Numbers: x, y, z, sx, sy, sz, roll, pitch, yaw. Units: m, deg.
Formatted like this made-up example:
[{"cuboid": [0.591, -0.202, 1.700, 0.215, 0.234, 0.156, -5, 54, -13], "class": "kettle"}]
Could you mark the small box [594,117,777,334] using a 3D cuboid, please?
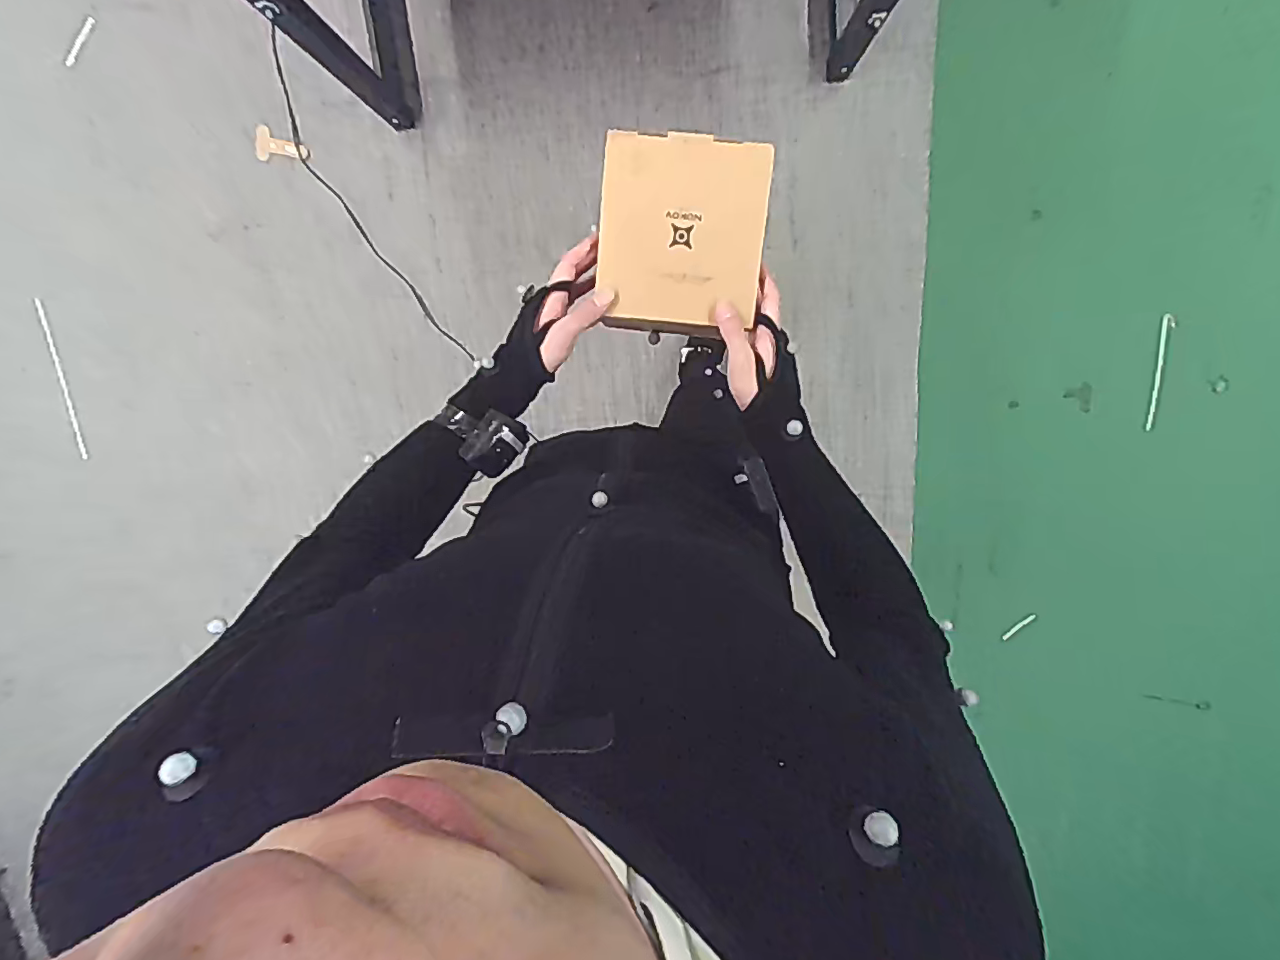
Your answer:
[{"cuboid": [0.043, -0.269, 0.610, 0.168, 0.176, 0.179, 6, 101, 0], "class": "small box"}]
